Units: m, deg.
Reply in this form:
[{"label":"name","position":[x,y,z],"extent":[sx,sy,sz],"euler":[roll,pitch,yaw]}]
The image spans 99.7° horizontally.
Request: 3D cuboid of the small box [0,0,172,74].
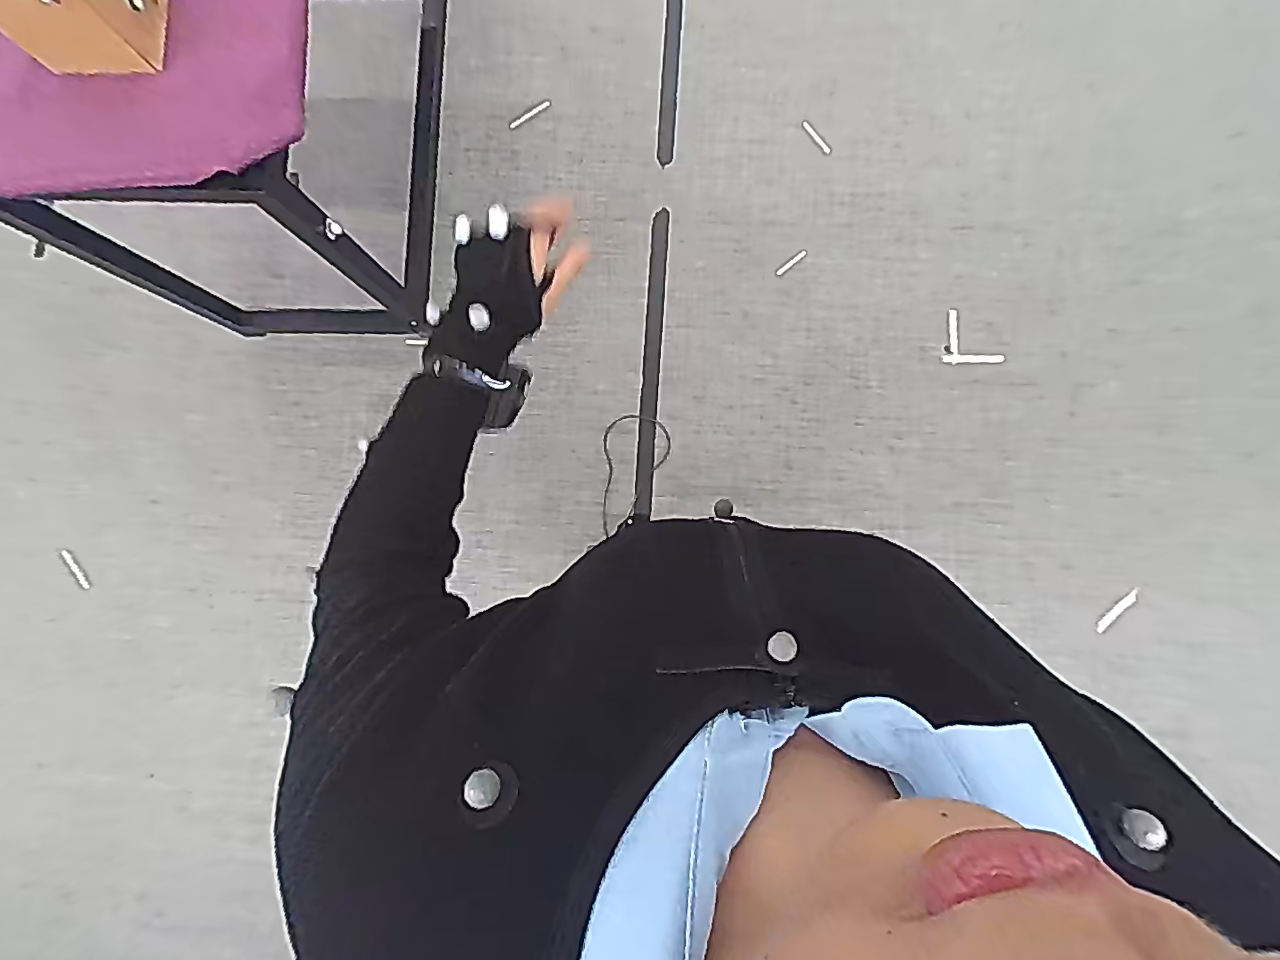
[{"label":"small box","position":[-0.852,-0.739,0.795],"extent":[0.179,0.176,0.168],"euler":[0,84,0]}]
